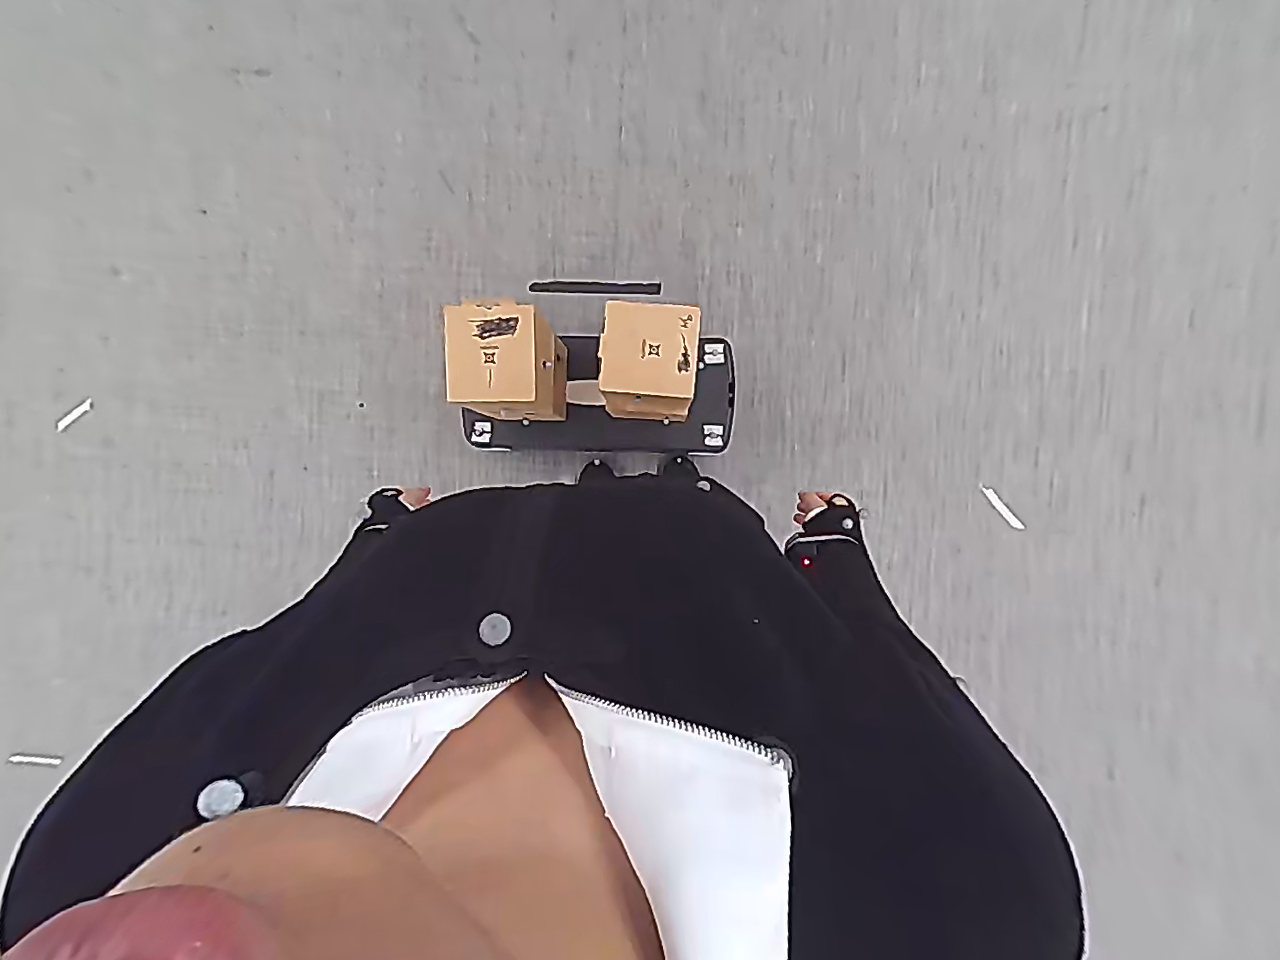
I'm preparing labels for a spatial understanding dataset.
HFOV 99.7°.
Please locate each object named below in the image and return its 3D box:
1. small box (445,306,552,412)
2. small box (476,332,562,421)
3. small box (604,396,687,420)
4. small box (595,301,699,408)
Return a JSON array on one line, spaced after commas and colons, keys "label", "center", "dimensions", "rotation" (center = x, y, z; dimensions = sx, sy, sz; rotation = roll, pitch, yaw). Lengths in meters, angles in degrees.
[{"label": "small box", "center": [-0.269, -0.229, 1.054], "dimensions": [0.168, 0.176, 0.179], "rotation": [0, 92, 1]}, {"label": "small box", "center": [-0.263, -0.228, 1.218], "dimensions": [0.168, 0.176, 0.179], "rotation": [1, 92, 2]}, {"label": "small box", "center": [0.019, -0.223, 1.213], "dimensions": [0.179, 0.176, 0.168], "rotation": [3, 92, 4]}, {"label": "small box", "center": [0.017, -0.236, 1.049], "dimensions": [0.179, 0.176, 0.168], "rotation": [5, 92, 2]}]
